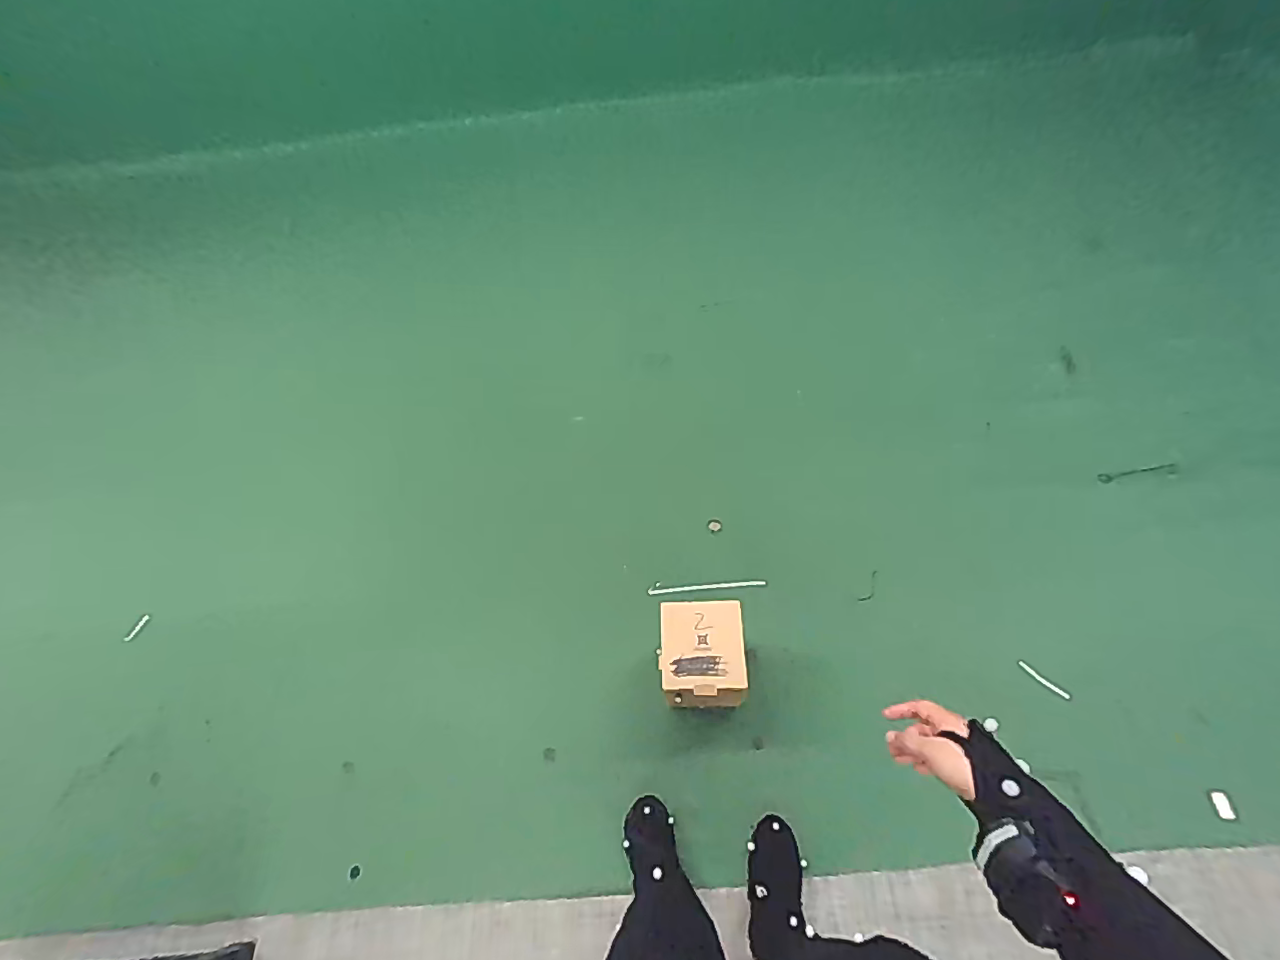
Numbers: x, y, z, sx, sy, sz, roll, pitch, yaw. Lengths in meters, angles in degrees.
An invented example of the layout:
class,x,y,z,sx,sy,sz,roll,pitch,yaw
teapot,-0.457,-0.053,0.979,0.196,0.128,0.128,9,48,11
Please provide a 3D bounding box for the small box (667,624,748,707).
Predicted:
class,x,y,z,sx,sy,sz,roll,pitch,yaw
small box,0.155,0.441,1.282,0.179,0.176,0.168,-2,62,4
